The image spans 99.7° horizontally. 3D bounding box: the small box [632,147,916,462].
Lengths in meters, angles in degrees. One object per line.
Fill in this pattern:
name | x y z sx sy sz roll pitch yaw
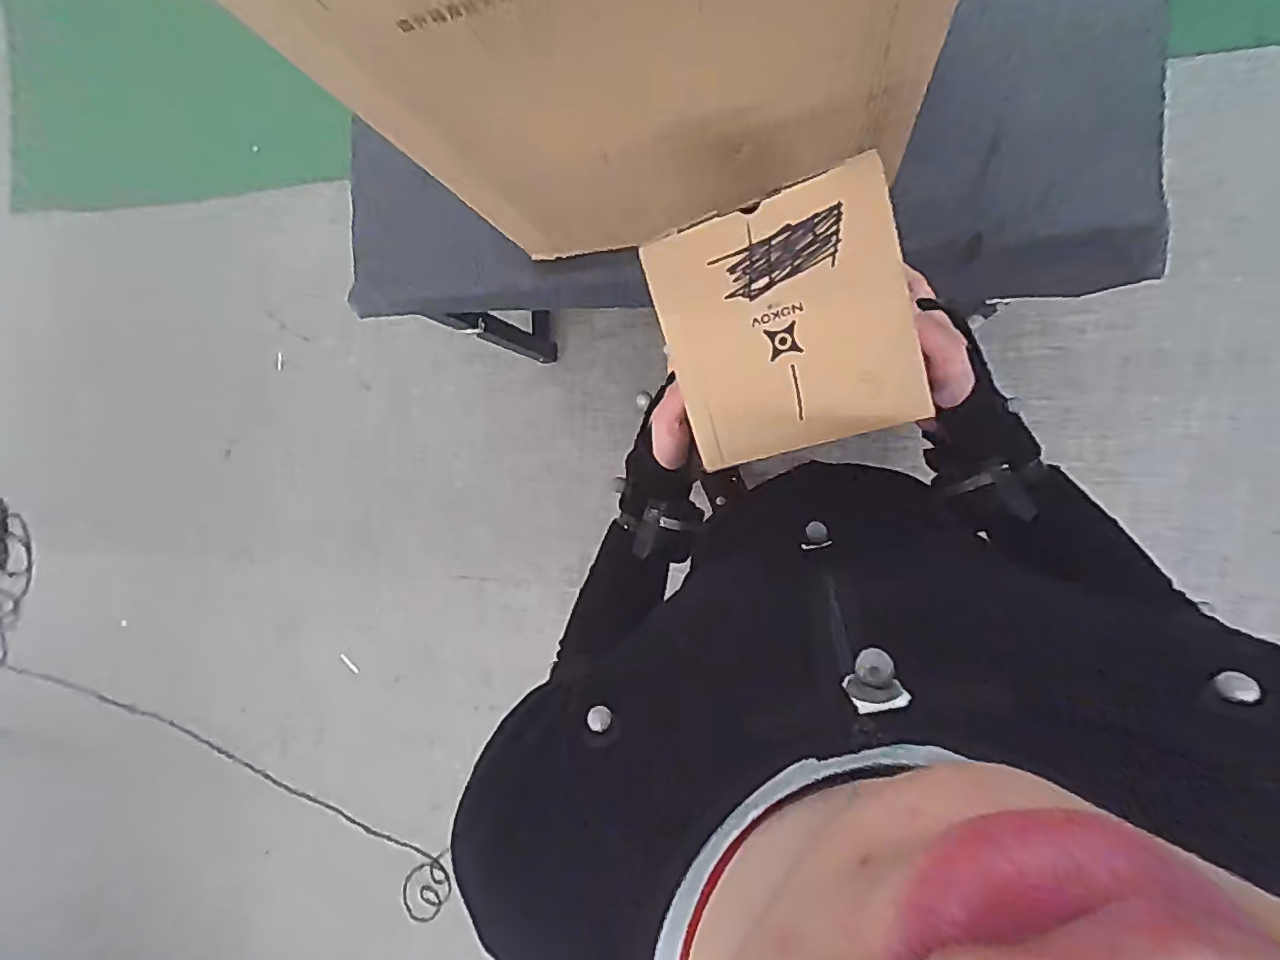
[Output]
small box | 0.111 -0.132 0.449 0.168 0.176 0.179 -13 103 20
